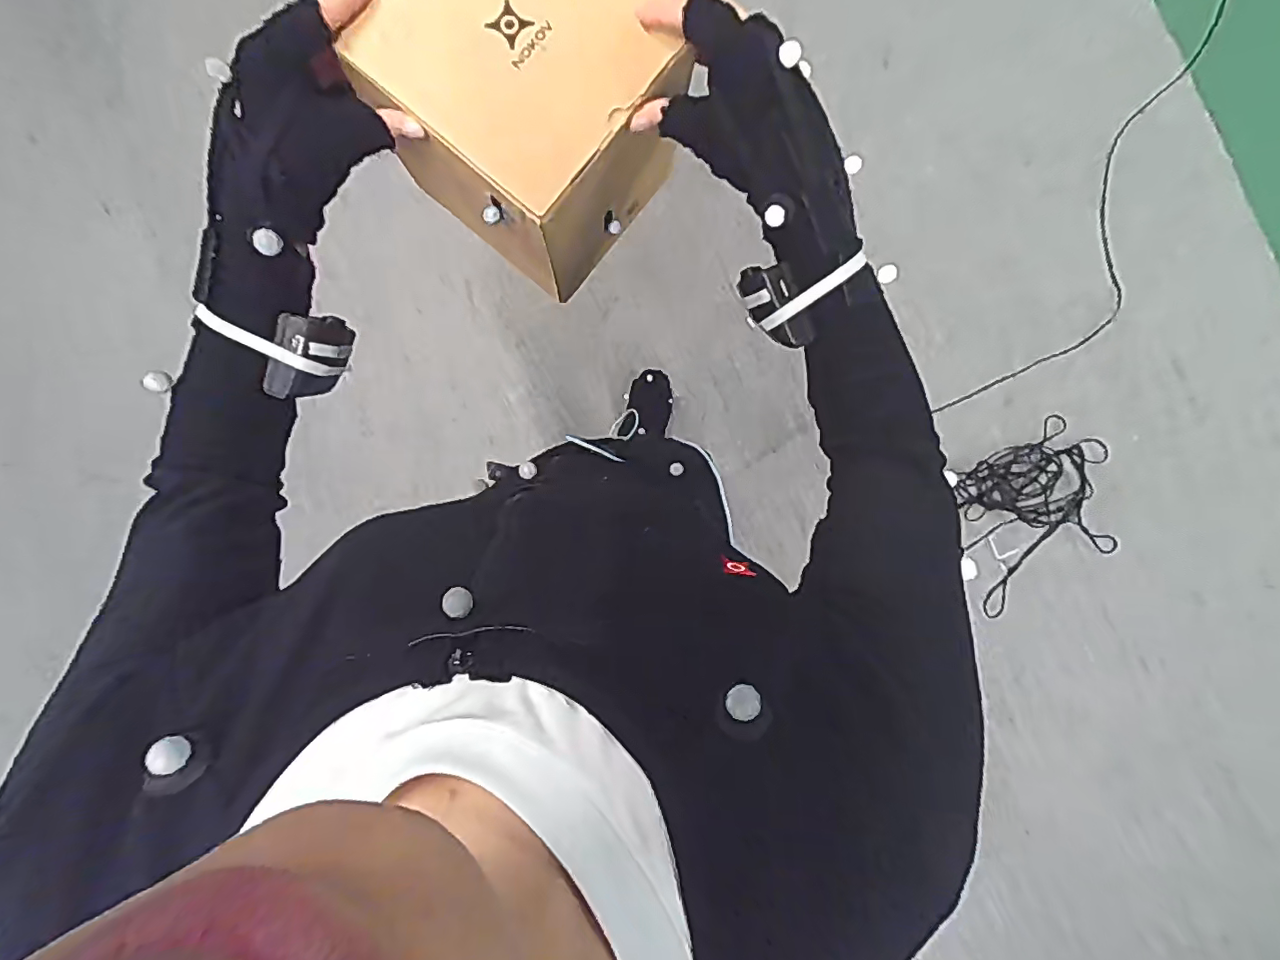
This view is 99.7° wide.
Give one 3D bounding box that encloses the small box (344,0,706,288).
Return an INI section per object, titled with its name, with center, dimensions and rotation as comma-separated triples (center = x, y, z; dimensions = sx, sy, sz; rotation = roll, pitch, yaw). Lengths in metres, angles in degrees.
[small box]
center = -0.078, -0.287, 0.429
dimensions = 0.179, 0.176, 0.168
rotation = 40, 87, -4
